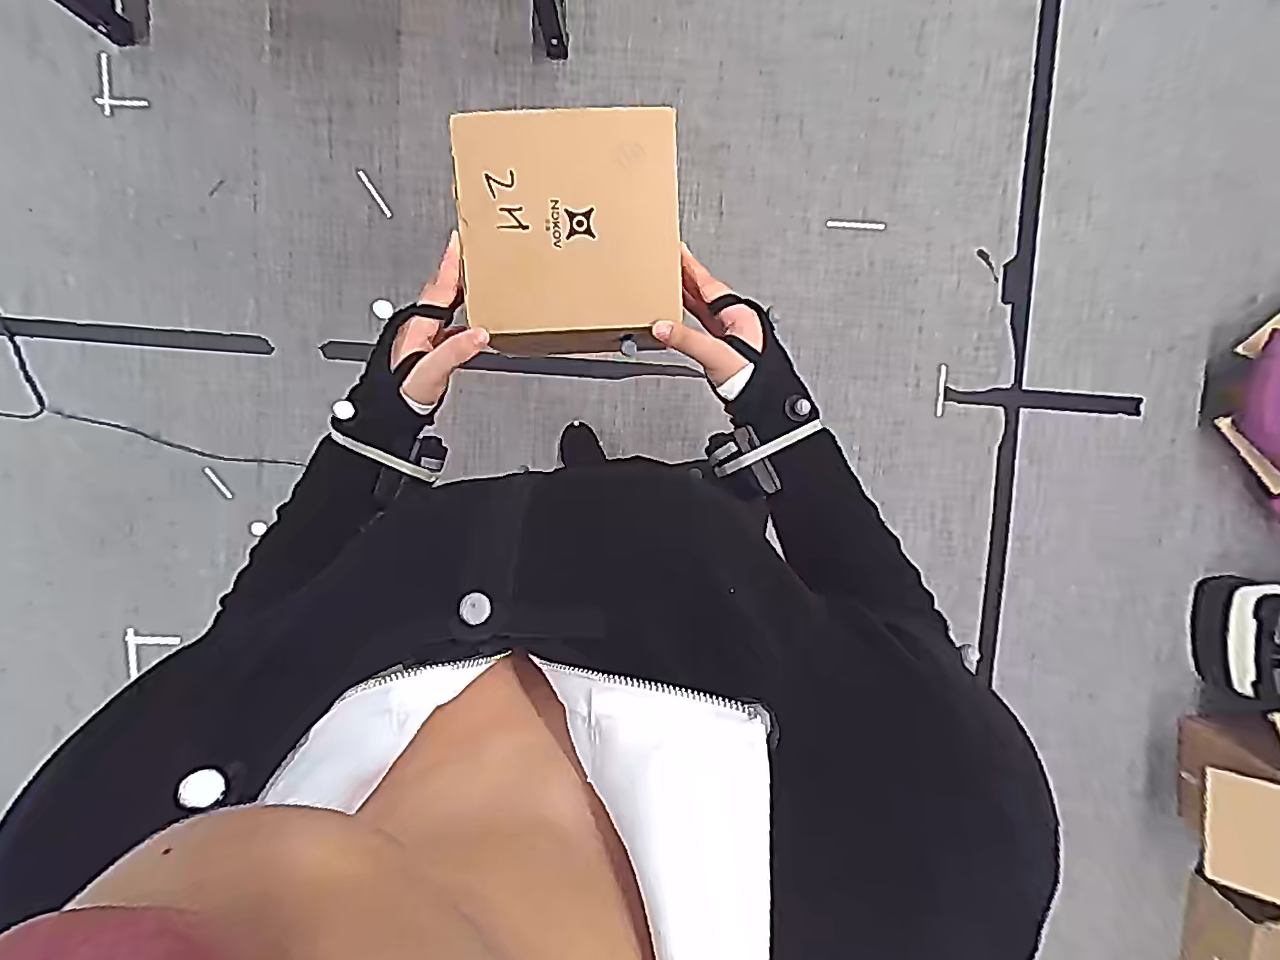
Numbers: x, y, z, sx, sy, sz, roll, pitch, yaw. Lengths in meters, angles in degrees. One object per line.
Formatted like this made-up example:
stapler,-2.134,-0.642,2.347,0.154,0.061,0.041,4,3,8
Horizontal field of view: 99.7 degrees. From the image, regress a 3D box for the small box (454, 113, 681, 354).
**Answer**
small box,-0.059,-0.213,0.510,0.179,0.176,0.168,-3,97,-1
